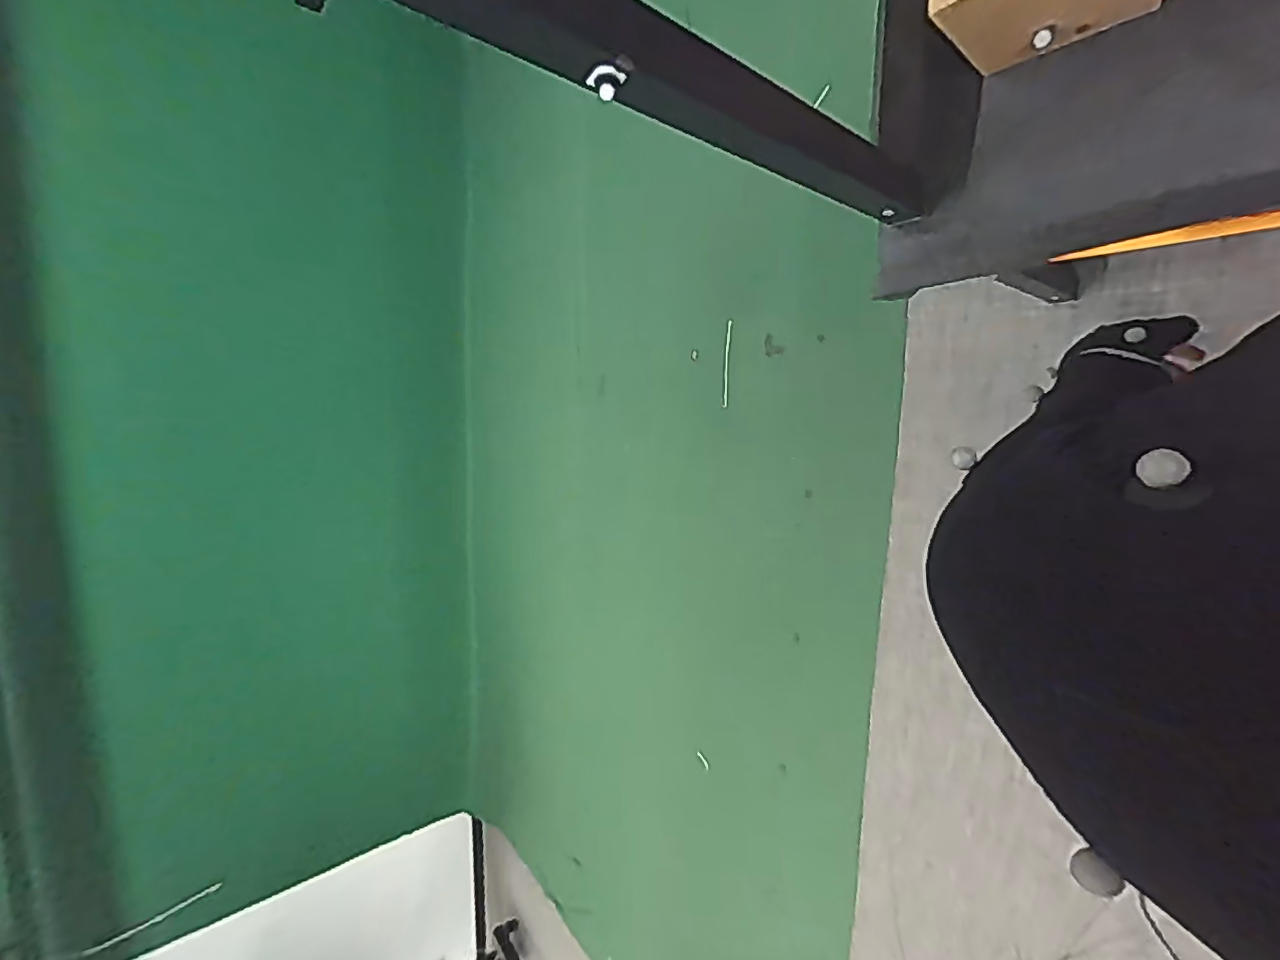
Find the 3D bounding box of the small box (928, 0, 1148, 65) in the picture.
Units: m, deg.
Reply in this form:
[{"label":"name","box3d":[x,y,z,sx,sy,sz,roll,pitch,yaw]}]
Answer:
[{"label":"small box","box3d":[0.425,-0.586,0.557,0.168,0.176,0.179,11,104,50]}]
